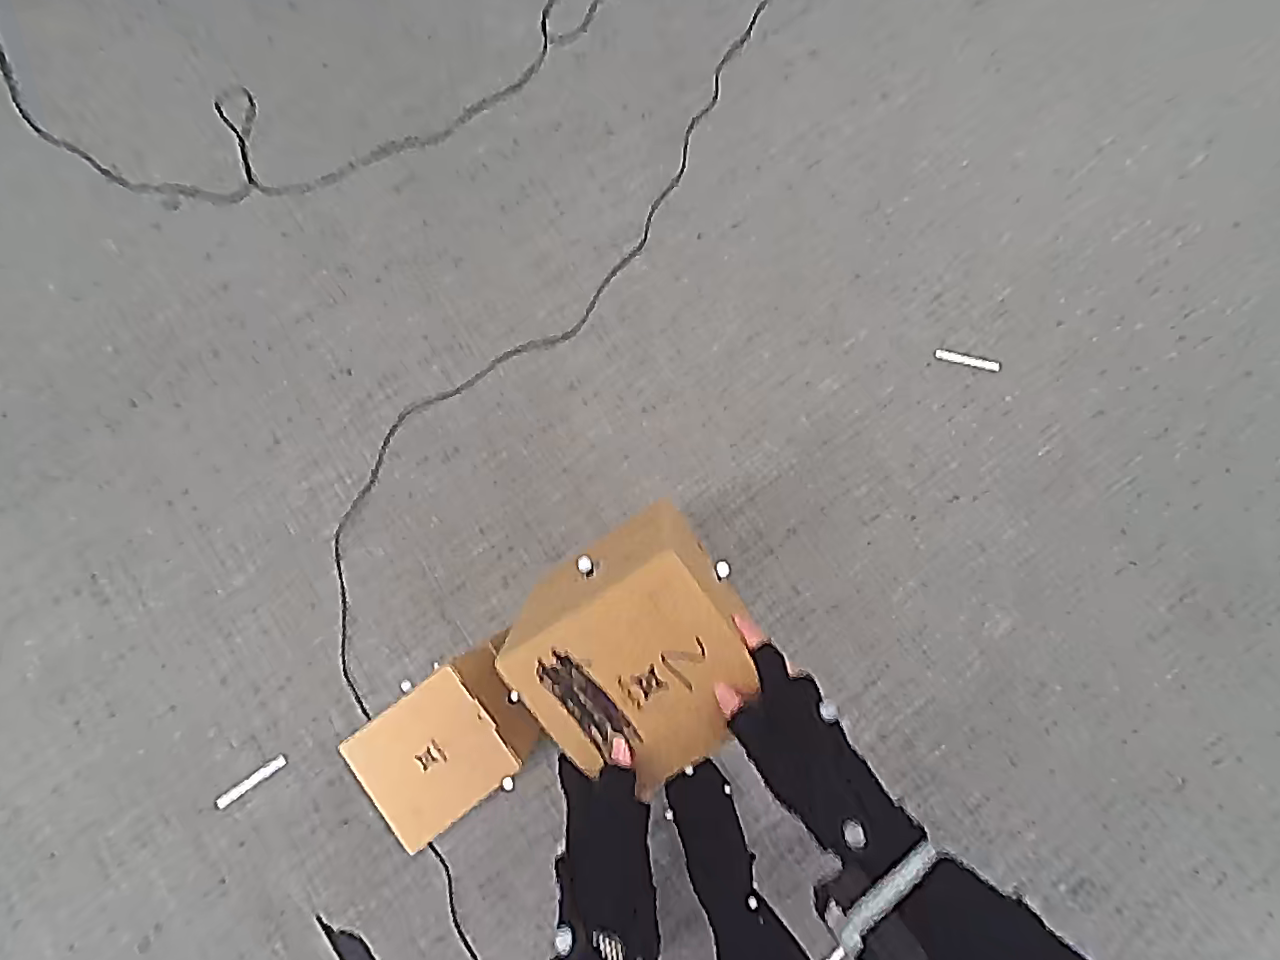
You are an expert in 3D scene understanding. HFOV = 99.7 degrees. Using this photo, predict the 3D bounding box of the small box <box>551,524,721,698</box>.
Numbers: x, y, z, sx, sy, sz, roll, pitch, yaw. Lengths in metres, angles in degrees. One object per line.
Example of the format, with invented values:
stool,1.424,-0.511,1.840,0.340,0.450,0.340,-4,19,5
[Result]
small box,-0.009,0.184,0.803,0.179,0.176,0.168,-38,84,-7

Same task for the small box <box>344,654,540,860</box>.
small box,-0.267,0.377,0.773,0.179,0.176,0.168,-38,84,-6

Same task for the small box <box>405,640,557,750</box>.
small box,-0.264,0.395,0.934,0.168,0.176,0.179,-34,85,-5
